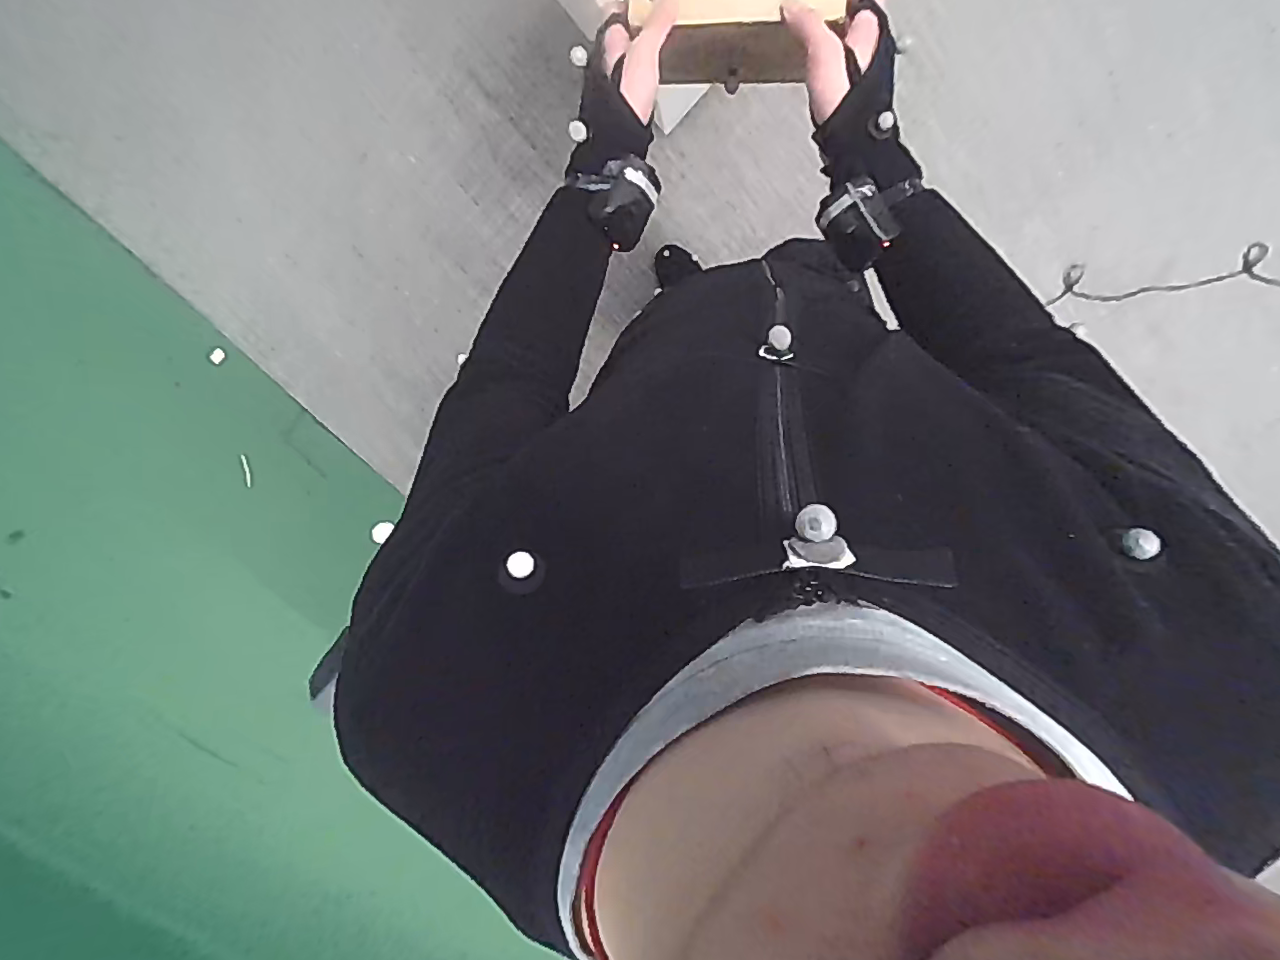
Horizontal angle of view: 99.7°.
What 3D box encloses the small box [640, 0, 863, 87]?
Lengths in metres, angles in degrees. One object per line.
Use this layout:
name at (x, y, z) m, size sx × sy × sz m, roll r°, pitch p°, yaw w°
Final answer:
small box at (0.098, -0.467, 0.473) m, size 0.179 × 0.176 × 0.168 m, roll 5°, pitch 113°, yaw 5°
